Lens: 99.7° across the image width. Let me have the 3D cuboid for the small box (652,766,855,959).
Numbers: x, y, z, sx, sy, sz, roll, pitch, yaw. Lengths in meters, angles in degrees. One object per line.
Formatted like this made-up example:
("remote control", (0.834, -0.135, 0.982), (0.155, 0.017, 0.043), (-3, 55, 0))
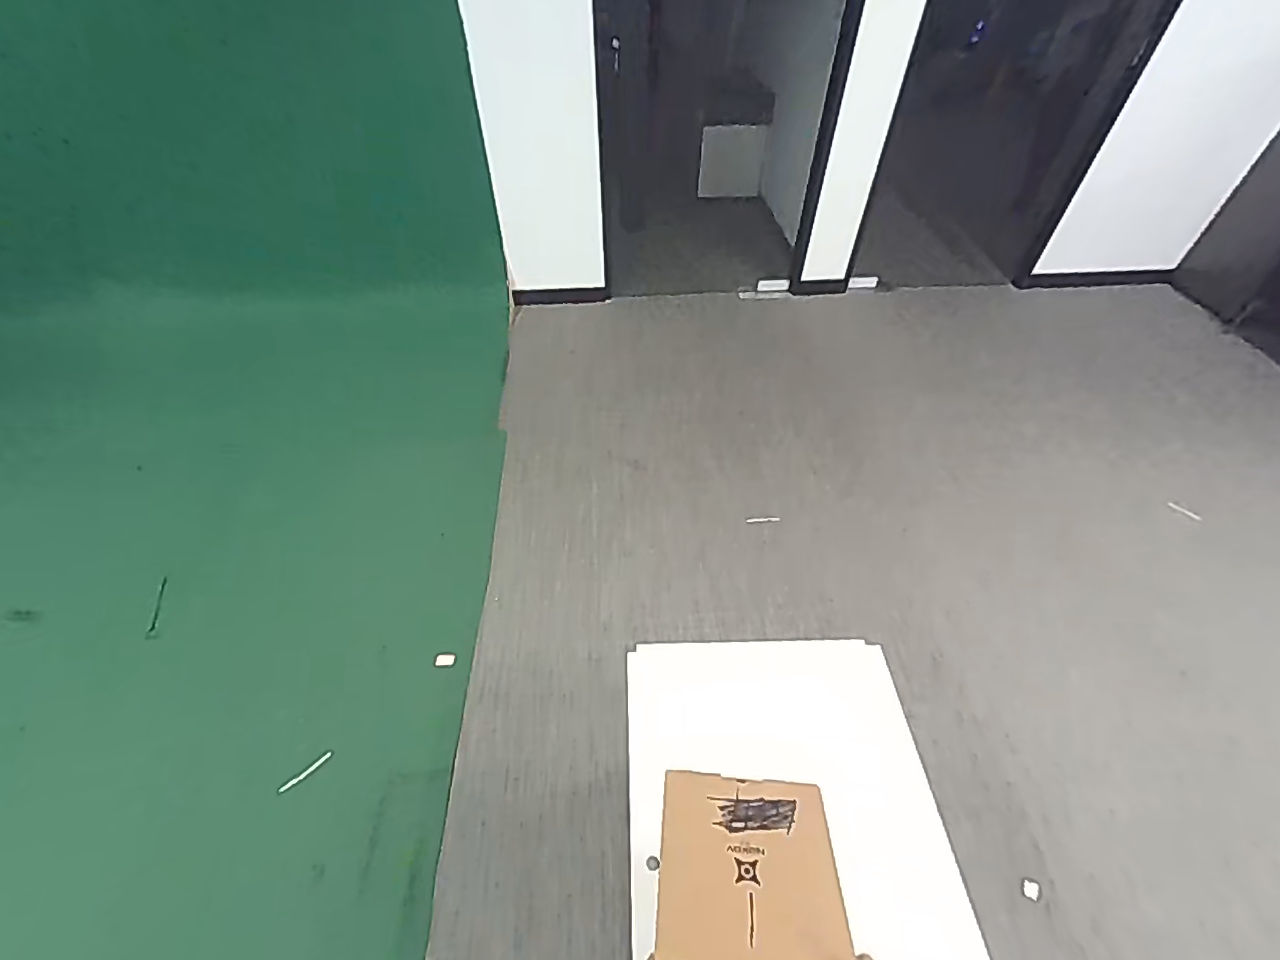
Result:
("small box", (0.100, 0.427, 0.541), (0.168, 0.176, 0.179), (3, 28, 5))
